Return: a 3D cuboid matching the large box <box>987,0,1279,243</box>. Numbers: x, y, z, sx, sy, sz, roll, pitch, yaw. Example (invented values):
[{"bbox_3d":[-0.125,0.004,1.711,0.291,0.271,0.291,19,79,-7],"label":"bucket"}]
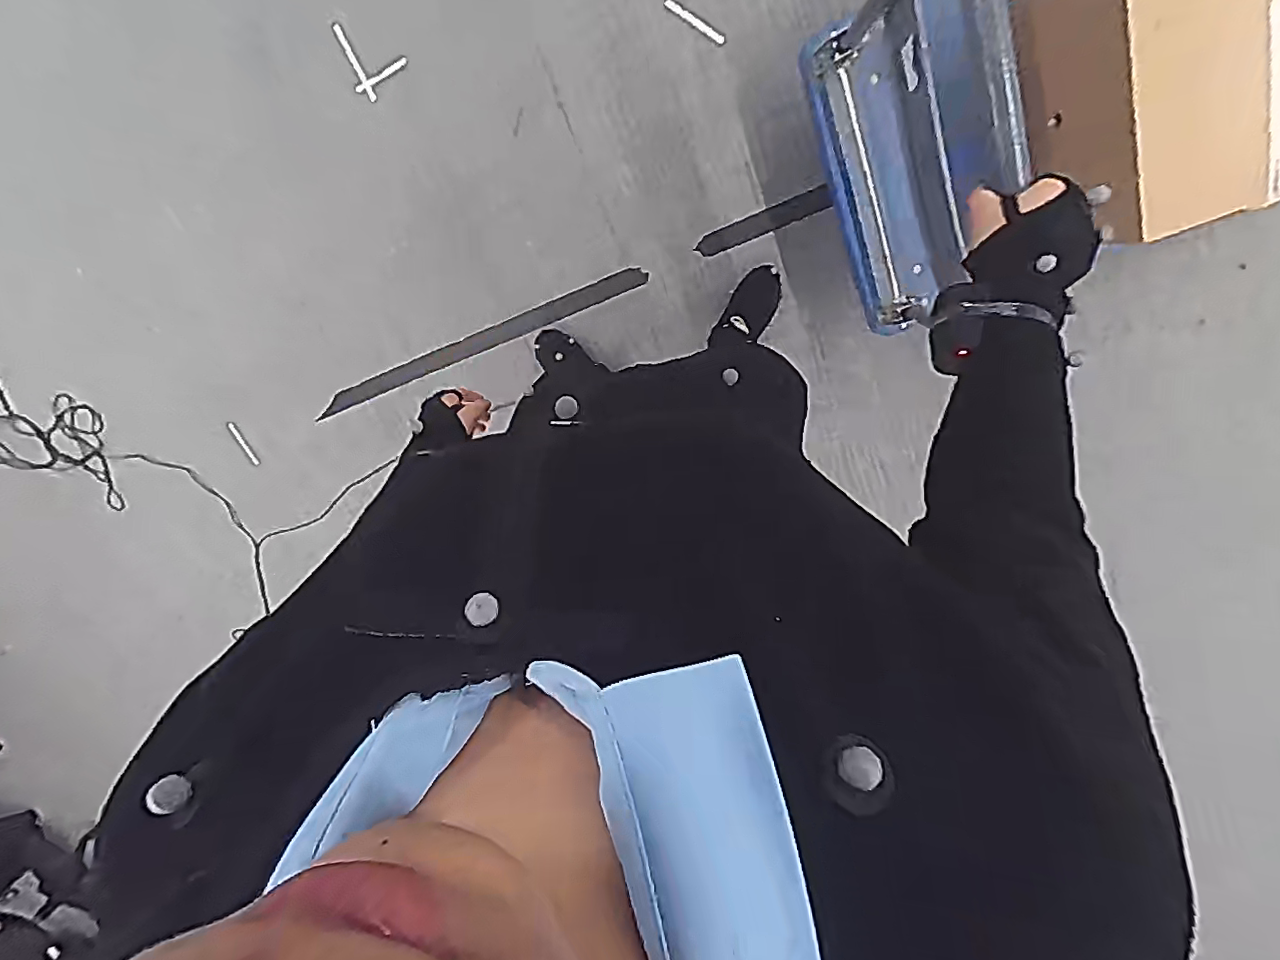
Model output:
[{"bbox_3d":[0.809,-0.637,0.851,0.320,0.320,0.408,-19,109,14],"label":"large box"}]
